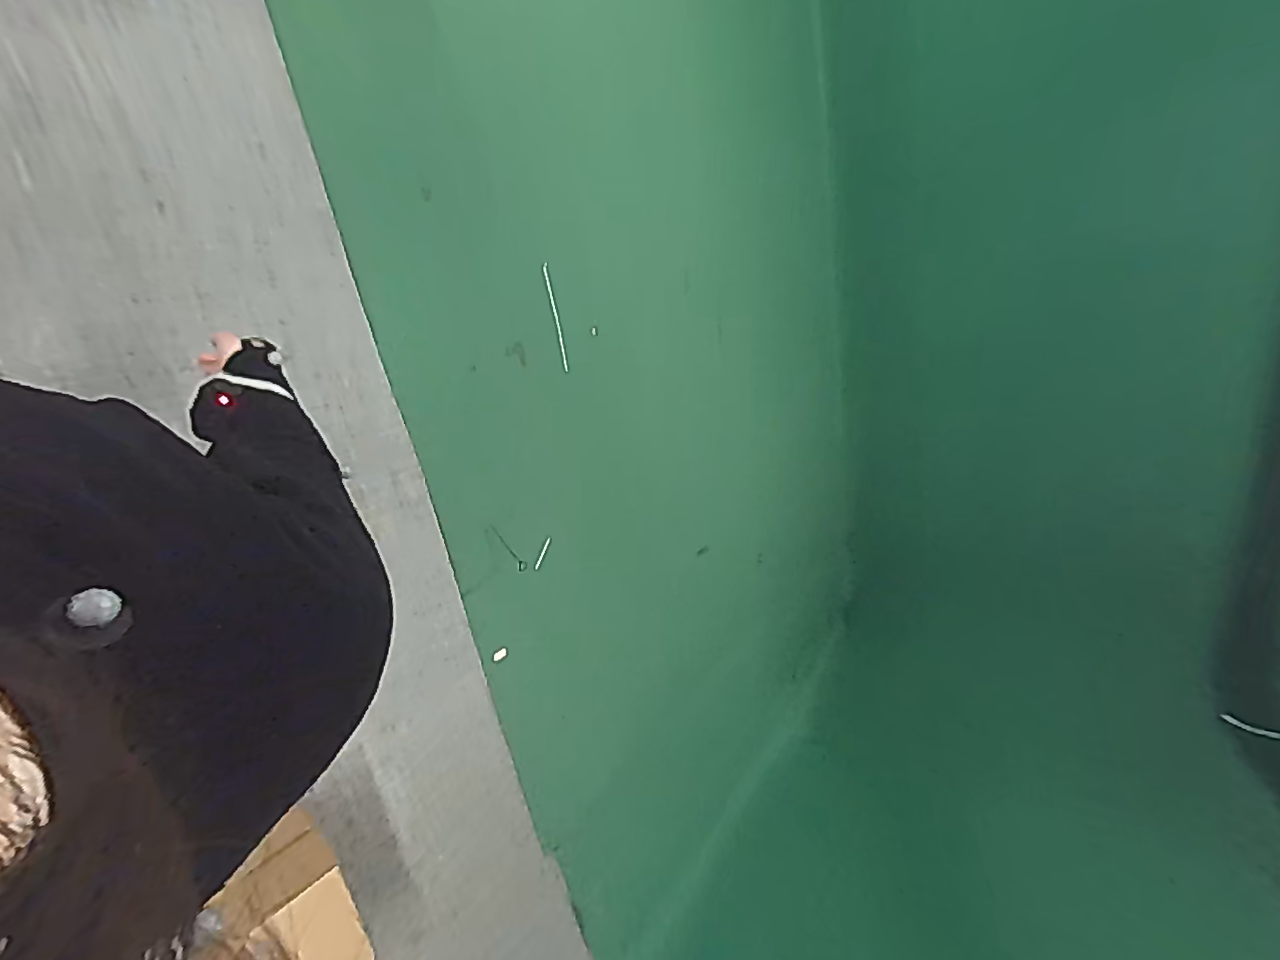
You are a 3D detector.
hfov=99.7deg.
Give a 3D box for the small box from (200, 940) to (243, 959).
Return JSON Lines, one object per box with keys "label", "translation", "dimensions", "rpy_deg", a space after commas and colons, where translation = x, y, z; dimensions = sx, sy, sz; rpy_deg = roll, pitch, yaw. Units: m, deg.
{"label": "small box", "translation": [-0.795, 1.012, 0.980], "dimensions": [0.179, 0.176, 0.168], "rpy_deg": [-29, 118, -43]}
